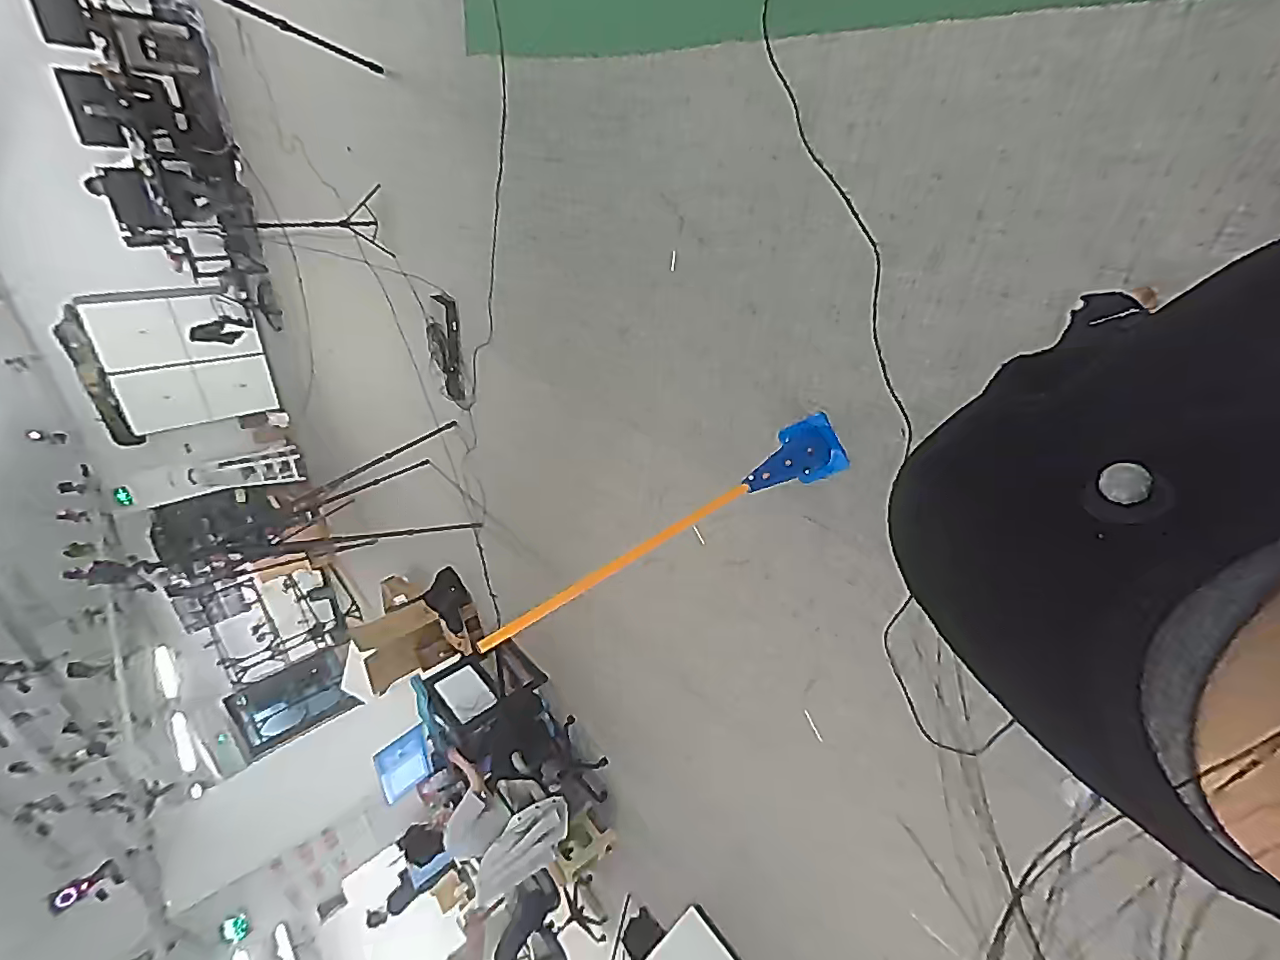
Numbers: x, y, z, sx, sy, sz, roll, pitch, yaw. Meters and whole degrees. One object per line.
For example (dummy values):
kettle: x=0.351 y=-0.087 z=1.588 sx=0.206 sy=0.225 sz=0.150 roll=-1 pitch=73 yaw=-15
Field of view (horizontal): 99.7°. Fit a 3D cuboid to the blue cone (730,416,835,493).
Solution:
blue cone: x=0.410 y=-0.036 z=1.657 sx=0.193 sy=0.380 sz=0.192 roll=-31 pitch=85 yaw=54
